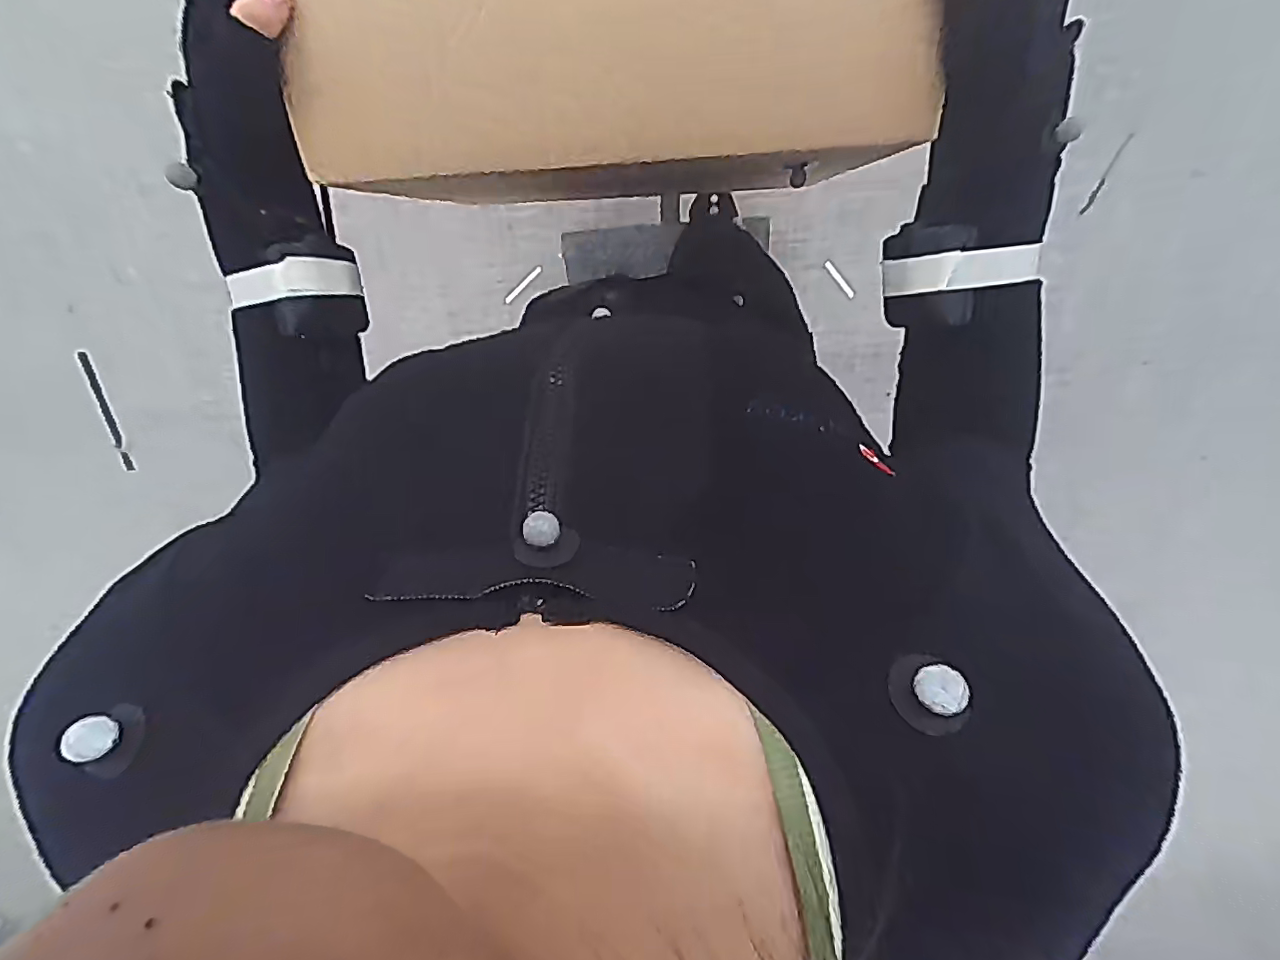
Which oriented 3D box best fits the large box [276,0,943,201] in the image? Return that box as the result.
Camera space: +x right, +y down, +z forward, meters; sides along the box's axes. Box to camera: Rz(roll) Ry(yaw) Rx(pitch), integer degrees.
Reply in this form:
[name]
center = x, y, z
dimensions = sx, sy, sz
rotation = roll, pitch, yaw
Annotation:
[large box]
center = -0.017, -0.411, 0.428
dimensions = 0.408, 0.320, 0.320
rotation = -2, 114, 4
